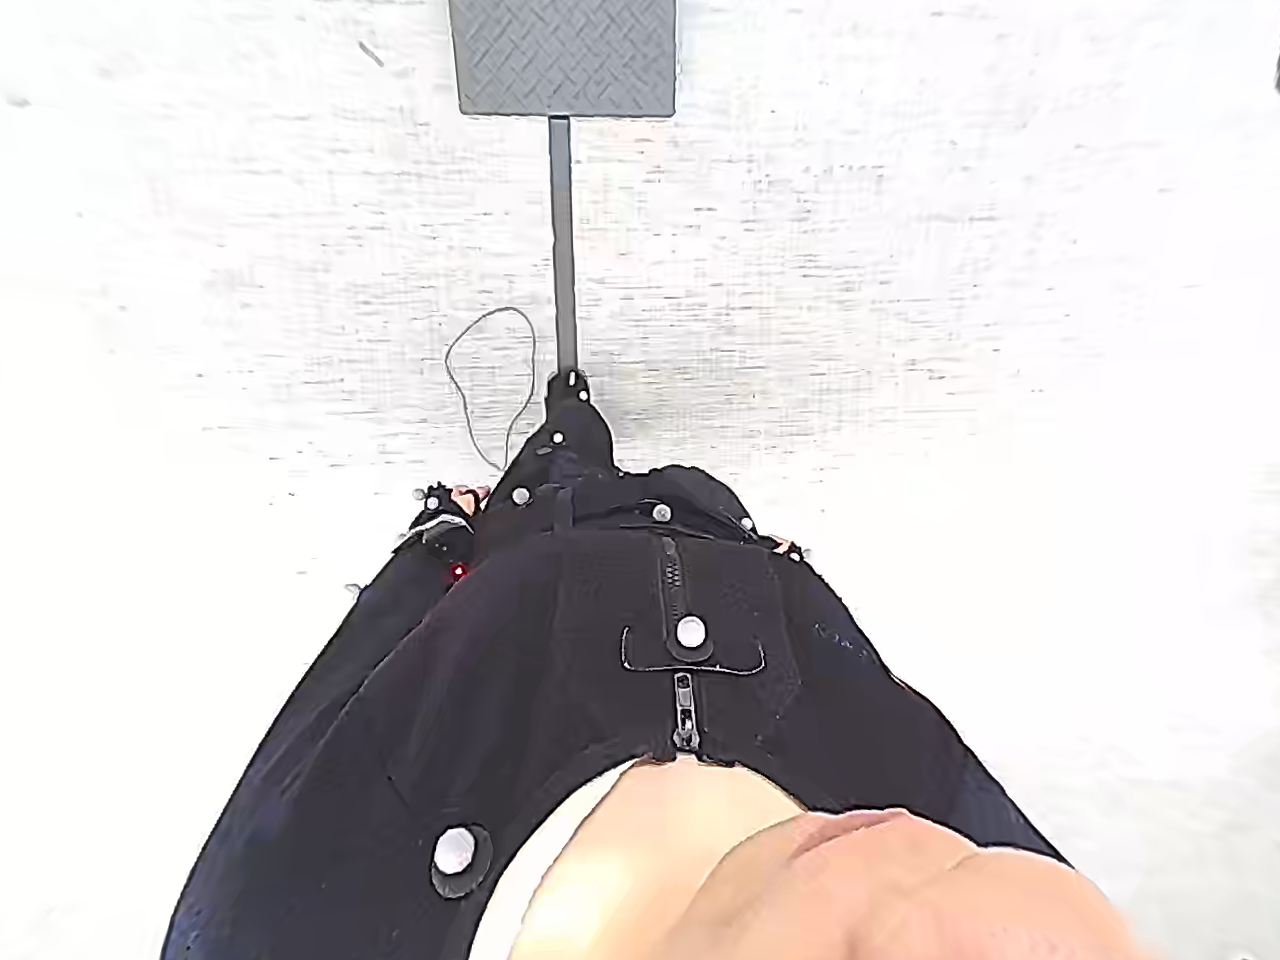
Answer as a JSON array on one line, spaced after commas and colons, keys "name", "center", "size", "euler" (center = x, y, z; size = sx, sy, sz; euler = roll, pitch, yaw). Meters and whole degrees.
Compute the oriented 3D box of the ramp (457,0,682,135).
[{"name": "ramp", "center": [-0.157, -1.279, 1.101], "size": [0.509, 0.206, 0.991], "euler": [-5, 99, -6]}]
